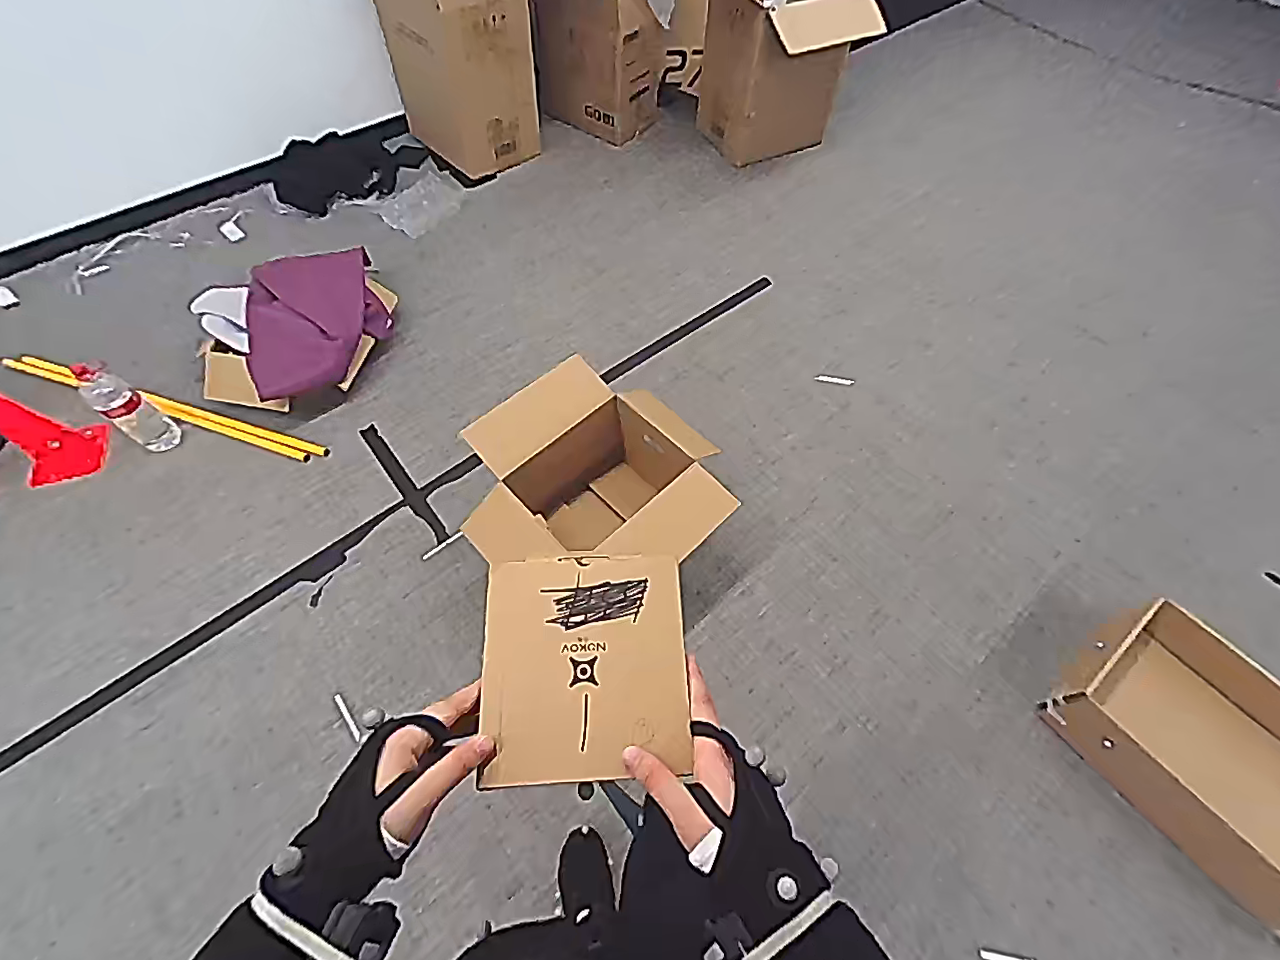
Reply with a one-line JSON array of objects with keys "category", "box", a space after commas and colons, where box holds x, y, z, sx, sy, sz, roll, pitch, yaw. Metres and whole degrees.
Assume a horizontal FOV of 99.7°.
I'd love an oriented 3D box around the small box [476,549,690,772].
[{"category": "small box", "box": [-0.049, 0.178, 0.518, 0.168, 0.176, 0.179, -2, 63, -3]}]
